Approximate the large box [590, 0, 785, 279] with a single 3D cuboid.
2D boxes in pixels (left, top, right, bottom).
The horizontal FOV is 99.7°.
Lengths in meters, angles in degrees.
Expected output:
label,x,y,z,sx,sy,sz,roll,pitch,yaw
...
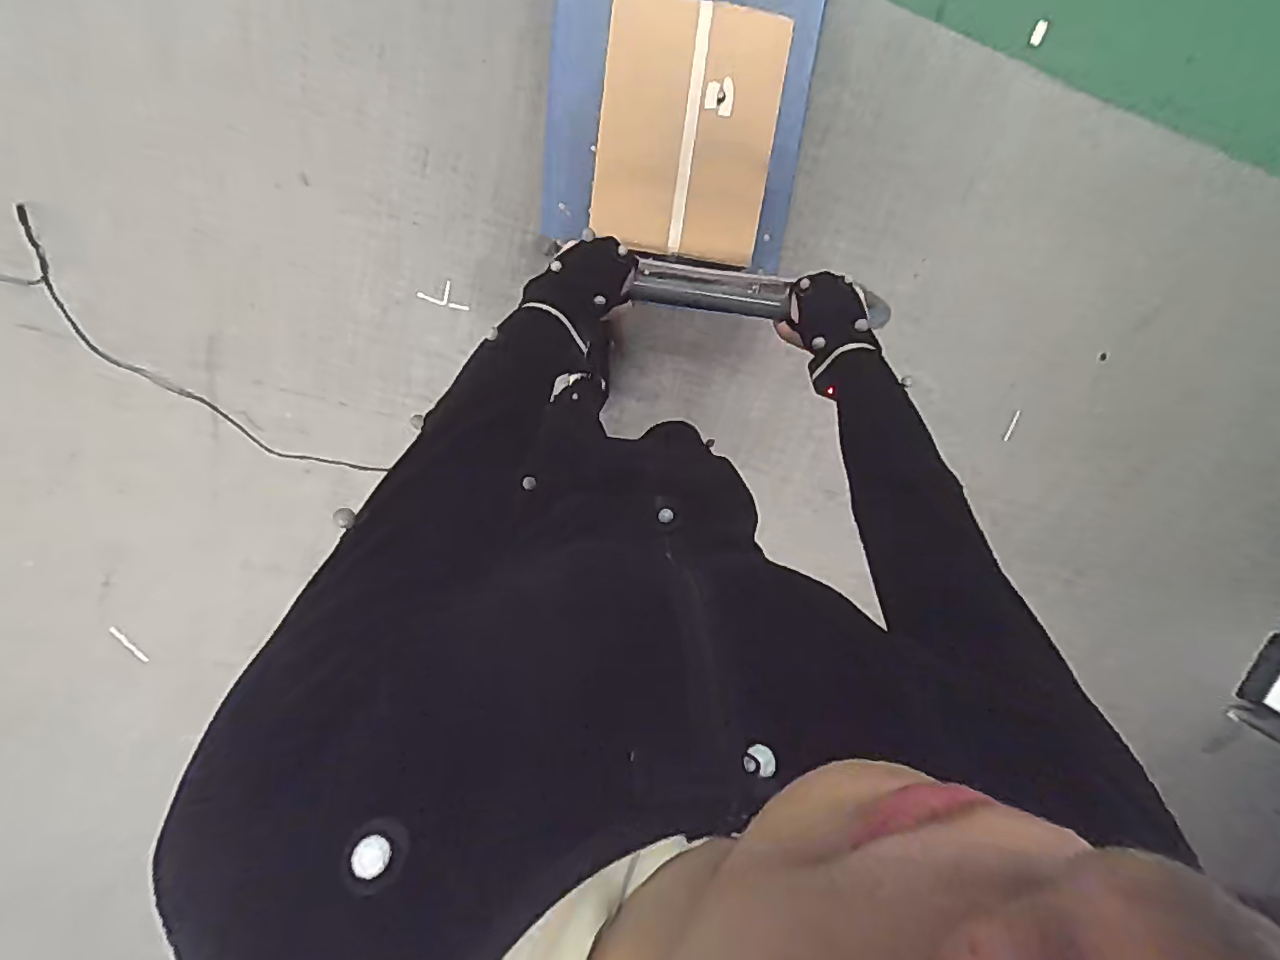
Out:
label,x,y,z,sx,sy,sz,roll,pitch,yaw
large box,0.070,-0.658,1.118,0.320,0.320,0.408,6,104,-7
